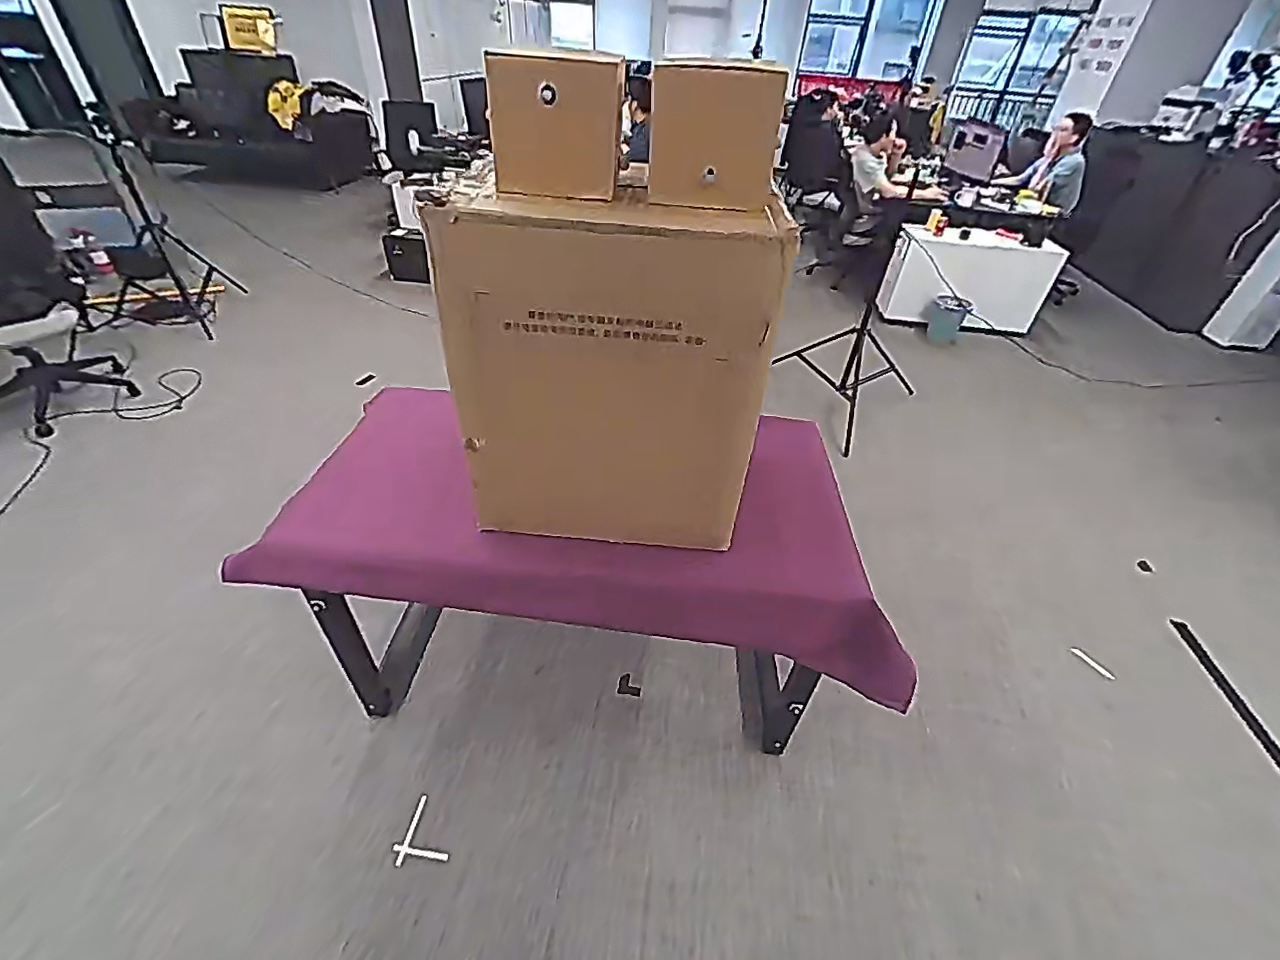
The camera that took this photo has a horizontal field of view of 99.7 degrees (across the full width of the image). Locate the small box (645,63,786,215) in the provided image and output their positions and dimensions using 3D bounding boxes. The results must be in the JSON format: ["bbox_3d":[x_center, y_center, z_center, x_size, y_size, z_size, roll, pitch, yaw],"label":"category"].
[{"bbox_3d":[0.106,-0.509,0.811,0.179,0.176,0.168,6,40,2],"label":"small box"}]
